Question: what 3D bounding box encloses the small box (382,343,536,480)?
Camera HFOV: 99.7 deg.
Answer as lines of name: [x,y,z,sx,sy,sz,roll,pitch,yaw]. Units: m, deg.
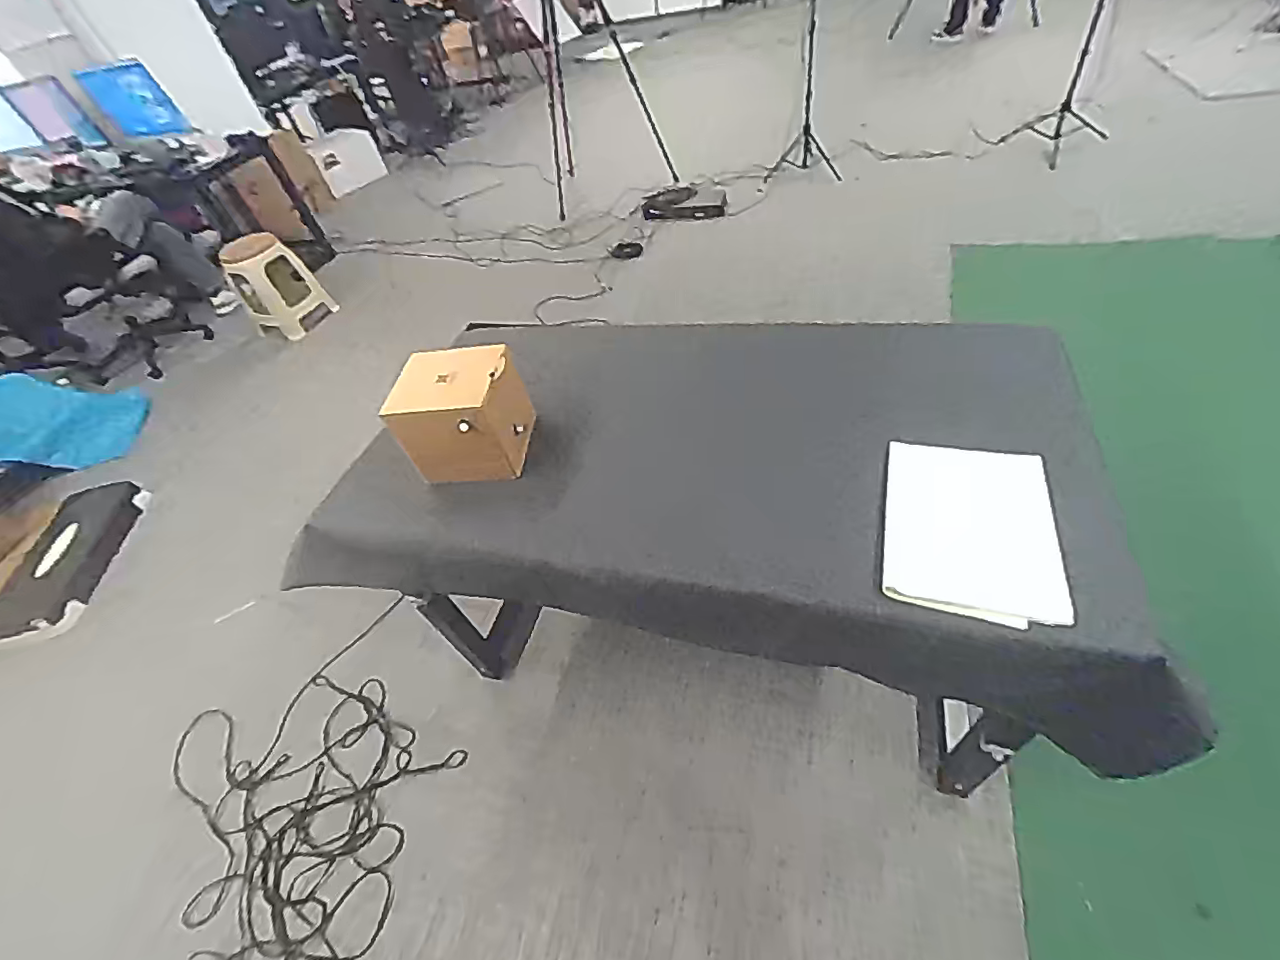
small box: [-0.300,-0.114,0.937,0.179,0.176,0.168,-4,47,9]
